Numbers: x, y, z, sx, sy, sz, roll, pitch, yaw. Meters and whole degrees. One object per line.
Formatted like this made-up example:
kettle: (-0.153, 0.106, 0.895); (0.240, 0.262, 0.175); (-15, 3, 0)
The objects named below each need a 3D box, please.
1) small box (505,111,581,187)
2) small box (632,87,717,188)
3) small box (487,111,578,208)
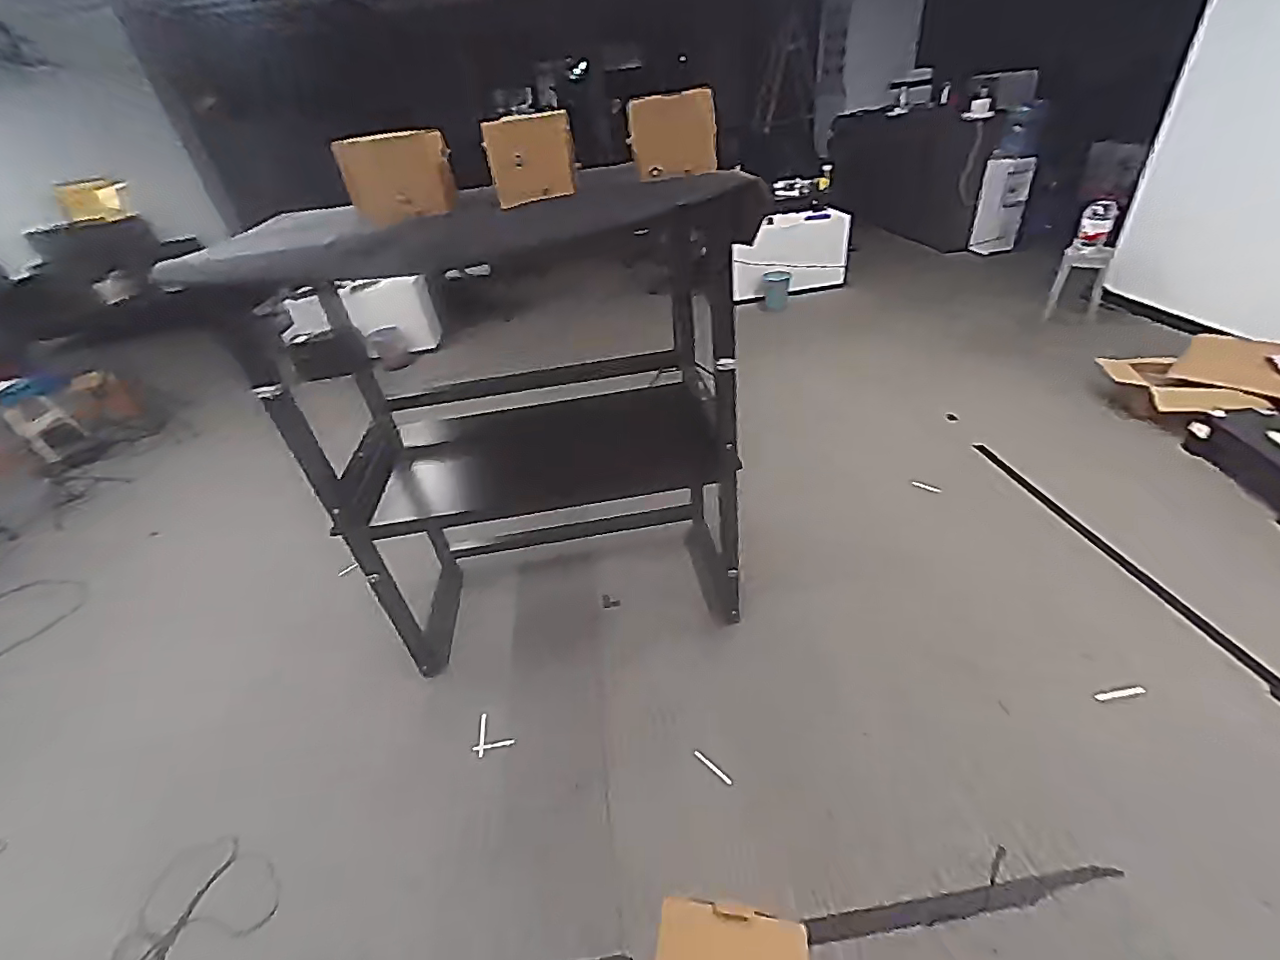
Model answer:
small box: (-0.254, -0.872, 1.440); (0.168, 0.176, 0.179); (-10, 35, -3)
small box: (0.076, -0.765, 1.219); (0.168, 0.176, 0.179); (-8, 32, 0)
small box: (-0.237, -0.726, 1.232); (0.168, 0.176, 0.179); (-9, 33, -2)
